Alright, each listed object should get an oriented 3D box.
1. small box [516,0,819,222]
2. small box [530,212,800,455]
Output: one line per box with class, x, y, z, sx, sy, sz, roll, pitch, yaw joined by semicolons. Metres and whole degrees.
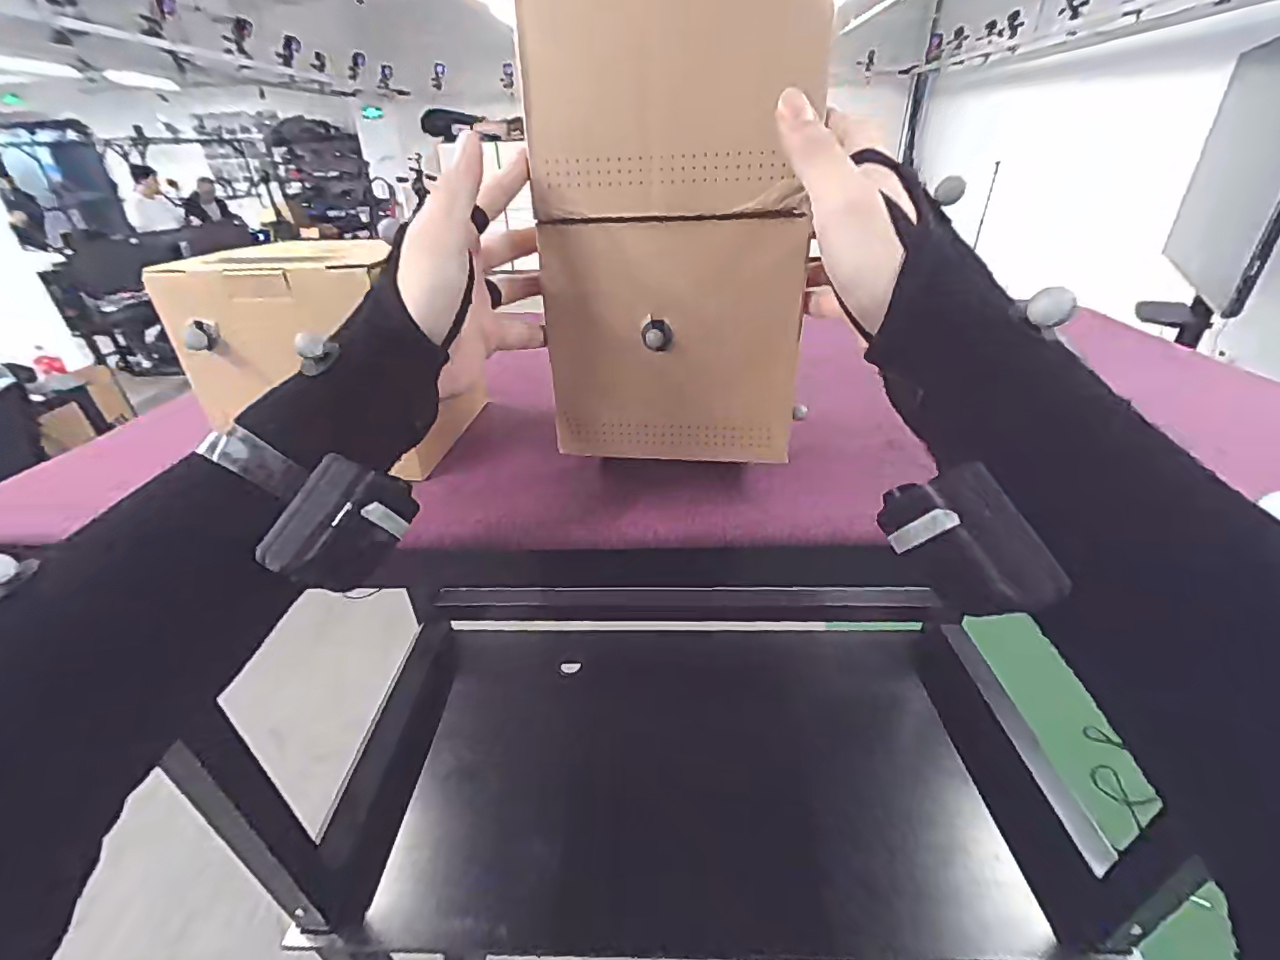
small box;0.025;-0.270;0.369;0.179;0.176;0.168;3;29;11
small box;0.029;-0.128;0.449;0.179;0.176;0.168;2;27;10
